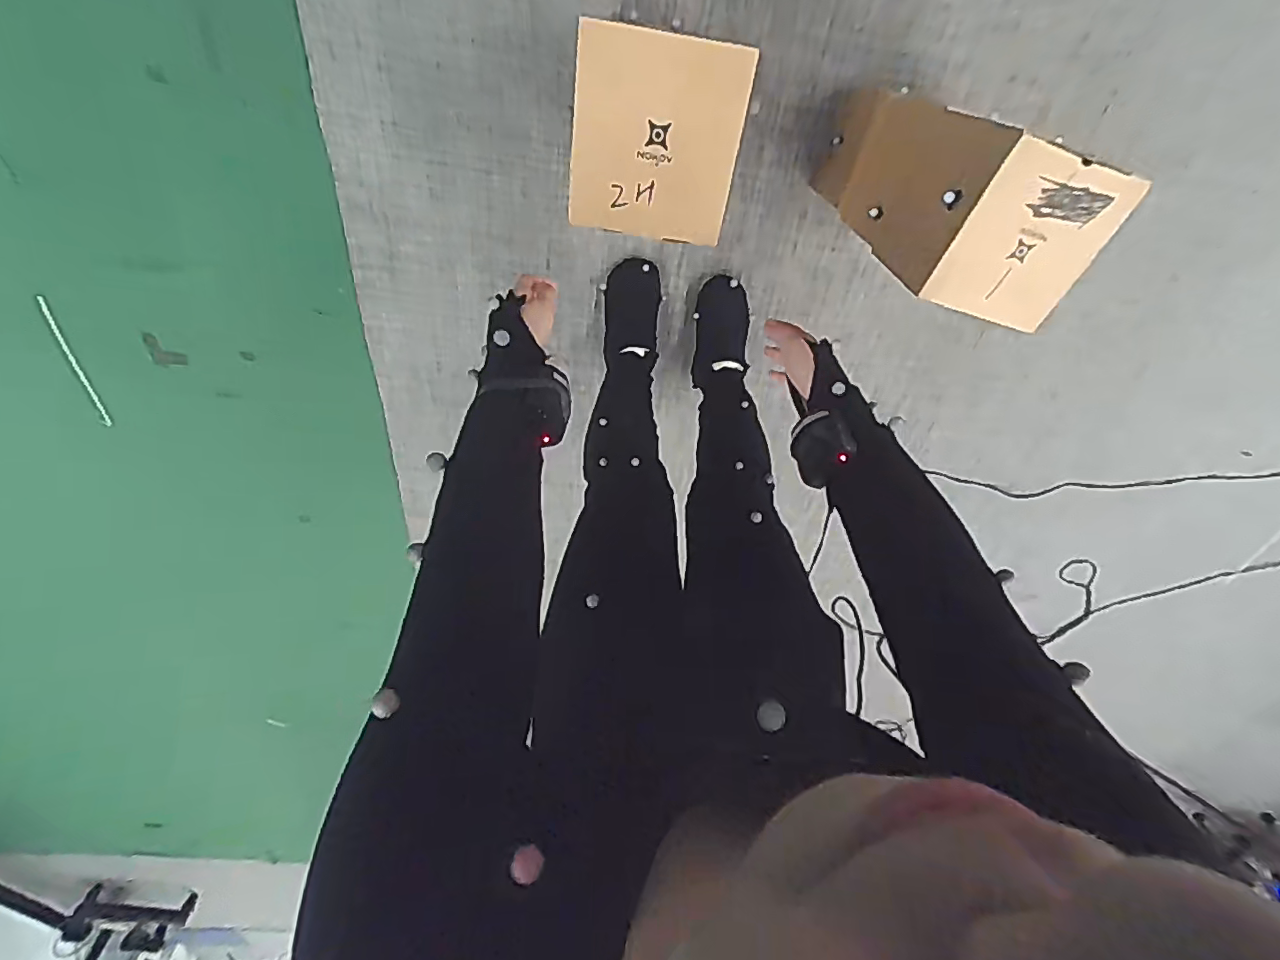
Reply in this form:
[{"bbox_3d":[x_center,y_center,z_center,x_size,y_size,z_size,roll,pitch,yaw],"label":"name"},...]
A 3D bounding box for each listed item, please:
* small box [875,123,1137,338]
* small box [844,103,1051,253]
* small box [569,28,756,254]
[{"bbox_3d":[0.422,-0.309,0.664,0.168,0.176,0.179,13,130,-11],"label":"small box"},{"bbox_3d":[0.424,-0.421,0.785,0.168,0.176,0.179,11,129,-10],"label":"small box"},{"bbox_3d":[0.016,-0.379,0.605,0.168,0.176,0.179,7,129,-4],"label":"small box"}]
